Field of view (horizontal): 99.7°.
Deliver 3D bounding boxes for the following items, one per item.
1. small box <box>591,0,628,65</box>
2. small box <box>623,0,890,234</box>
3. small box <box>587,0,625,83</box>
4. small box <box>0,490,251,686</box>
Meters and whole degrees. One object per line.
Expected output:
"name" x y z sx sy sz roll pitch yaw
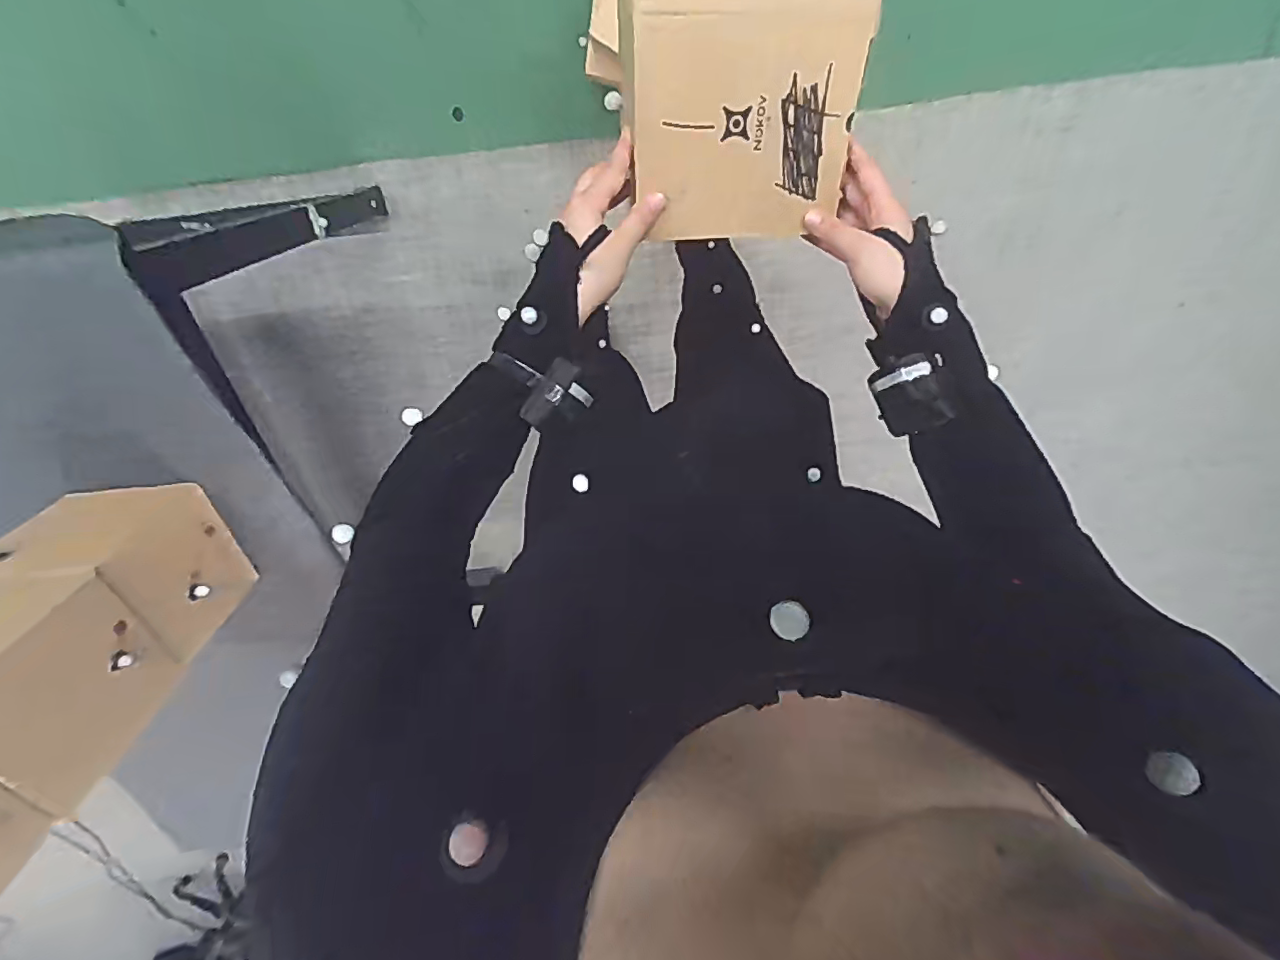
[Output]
"small box" 0.040 -0.706 0.812 0.168 0.176 0.179 25 119 -20
"small box" 0.080 -0.330 0.474 0.179 0.176 0.168 -4 131 -3
"small box" 0.003 -0.798 0.944 0.168 0.176 0.179 8 123 -8
"small box" -0.624 0.125 0.659 0.179 0.176 0.168 -5 124 3
